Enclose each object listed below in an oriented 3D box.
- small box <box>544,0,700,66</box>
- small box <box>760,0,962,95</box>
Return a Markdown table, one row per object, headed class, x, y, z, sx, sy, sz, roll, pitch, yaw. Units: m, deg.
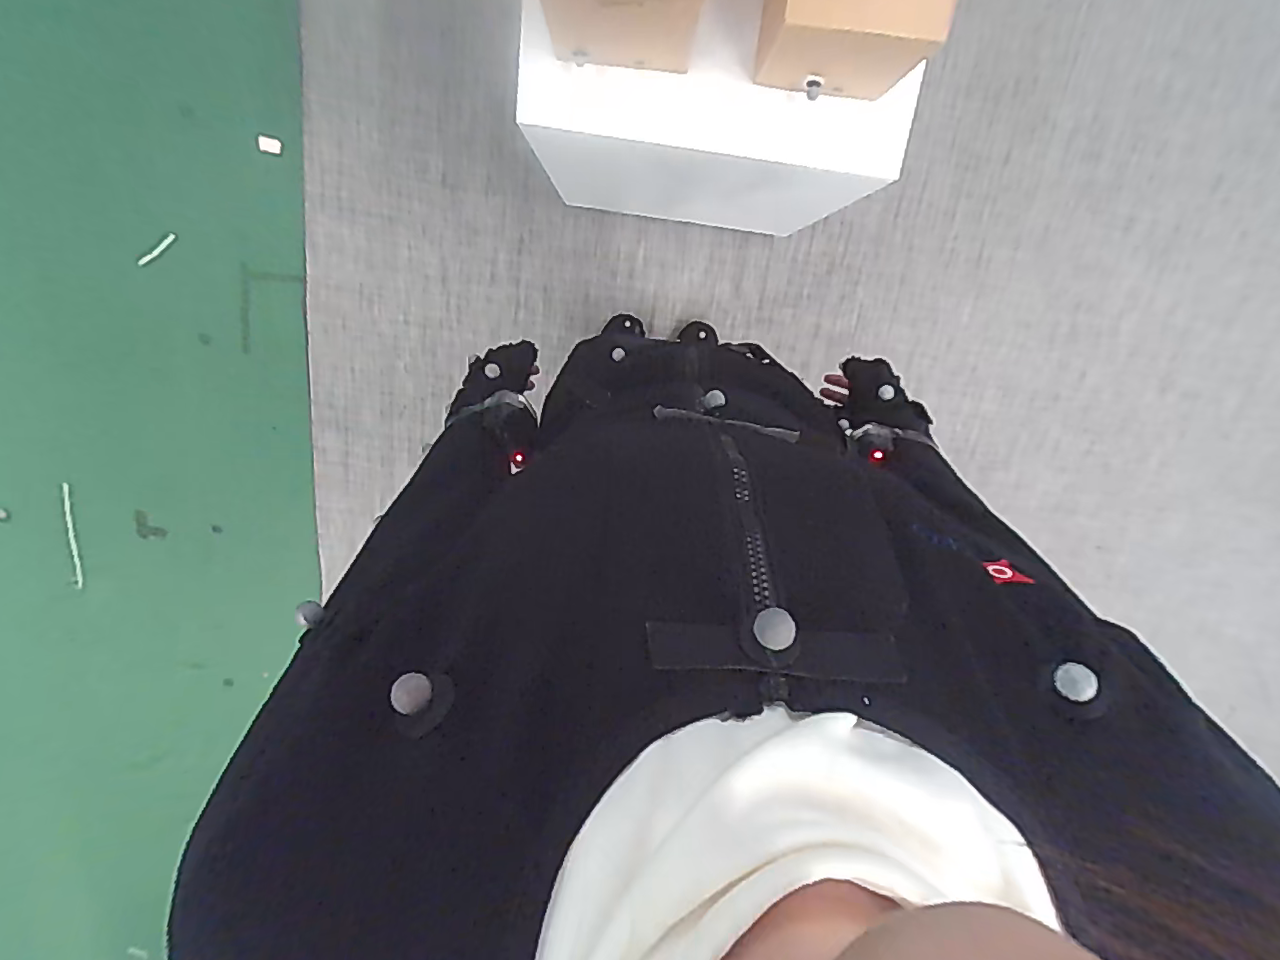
| class | x | y | z | sx | sy | sz | roll | pitch | yaw |
| --- | --- | --- | --- | --- | --- | --- | --- | --- | --- |
| small box | -0.013 | -0.577 | 0.573 | 0.168 | 0.176 | 0.179 | 4 | 106 | -2 |
| small box | 0.232 | -0.544 | 0.571 | 0.168 | 0.176 | 0.179 | 5 | 109 | 0 |
